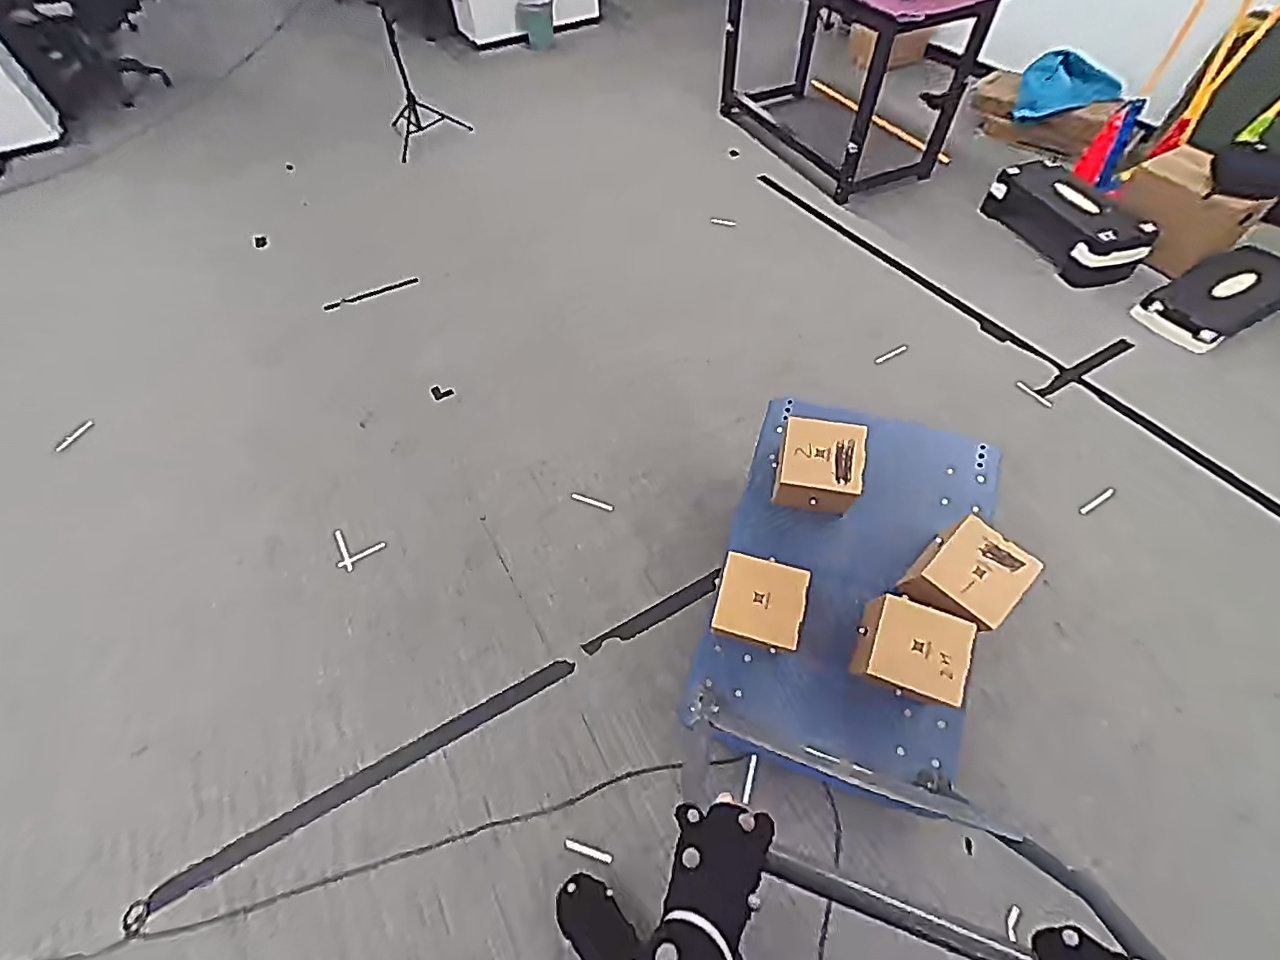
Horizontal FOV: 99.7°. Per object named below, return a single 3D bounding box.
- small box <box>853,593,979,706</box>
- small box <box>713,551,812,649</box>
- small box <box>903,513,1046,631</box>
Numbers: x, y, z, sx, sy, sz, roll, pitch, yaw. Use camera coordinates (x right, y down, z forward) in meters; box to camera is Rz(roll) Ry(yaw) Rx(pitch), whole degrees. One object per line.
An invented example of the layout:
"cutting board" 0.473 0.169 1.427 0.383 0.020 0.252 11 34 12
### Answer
"small box" 0.562 0.352 1.124 0.179 0.176 0.168 19 75 14
"small box" 0.263 0.272 1.194 0.179 0.176 0.168 13 73 11
"small box" 0.700 0.203 1.156 0.168 0.176 0.179 42 82 19
